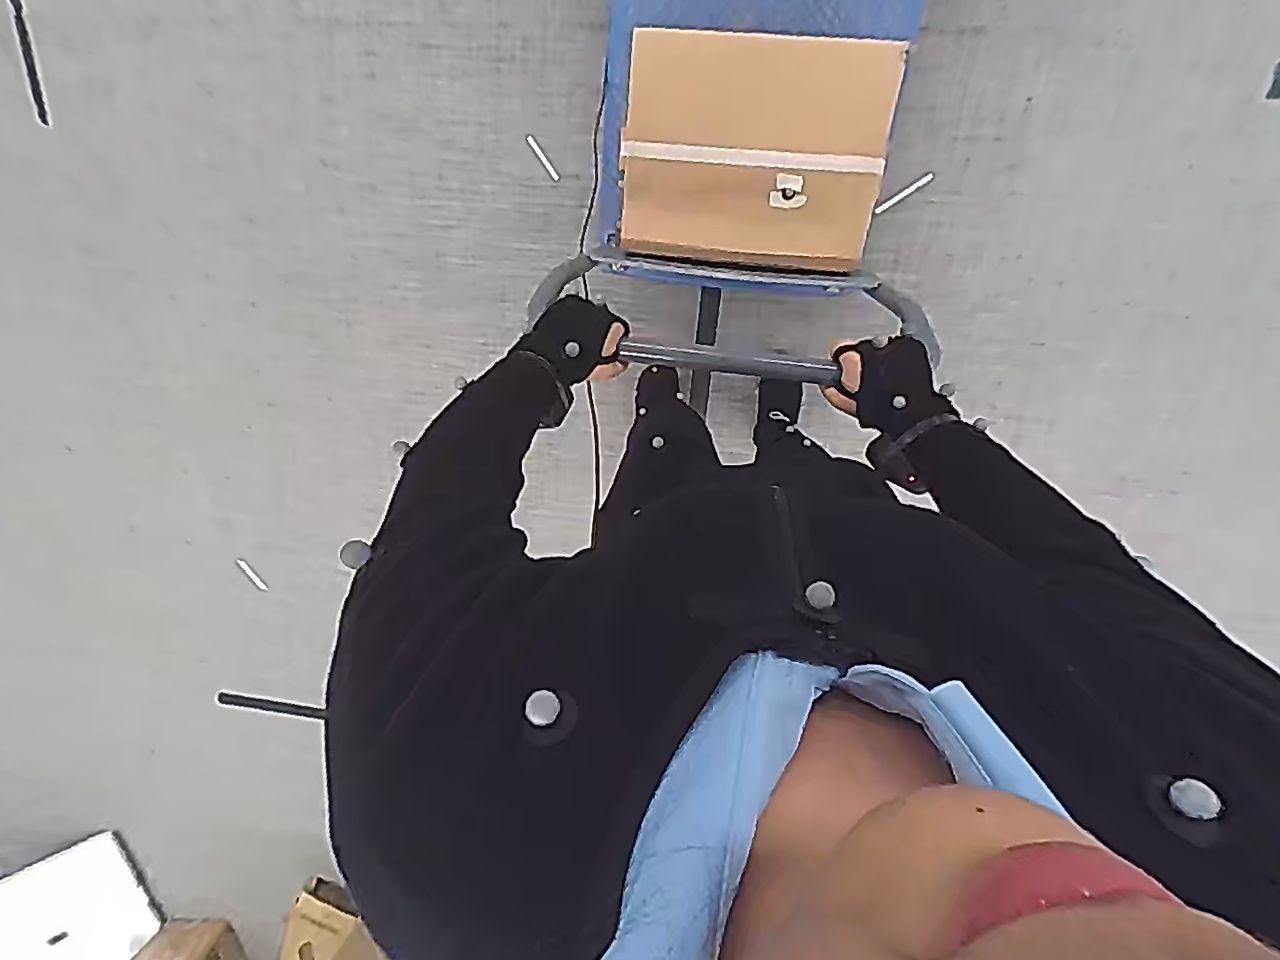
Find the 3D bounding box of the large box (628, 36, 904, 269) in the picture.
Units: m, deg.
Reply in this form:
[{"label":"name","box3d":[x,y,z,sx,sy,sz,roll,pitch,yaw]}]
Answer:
[{"label":"large box","box3d":[0.199,-0.578,1.004,0.408,0.320,0.320,7,116,5]}]
